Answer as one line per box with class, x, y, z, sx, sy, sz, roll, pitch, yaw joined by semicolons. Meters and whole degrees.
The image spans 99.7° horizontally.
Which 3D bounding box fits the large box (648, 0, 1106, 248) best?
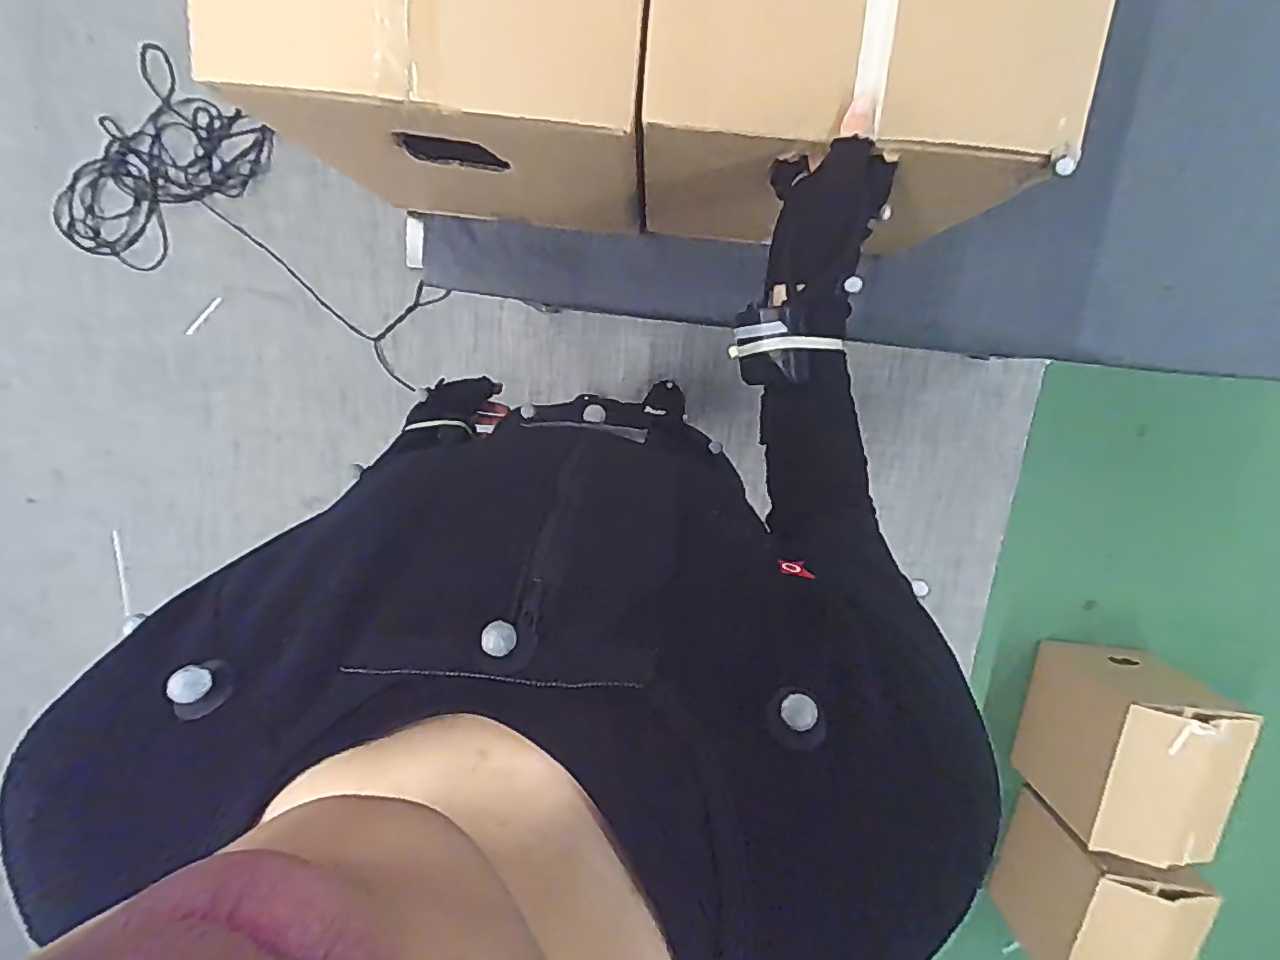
large box;0.176;-0.464;0.493;0.320;0.320;0.408;5;103;1
